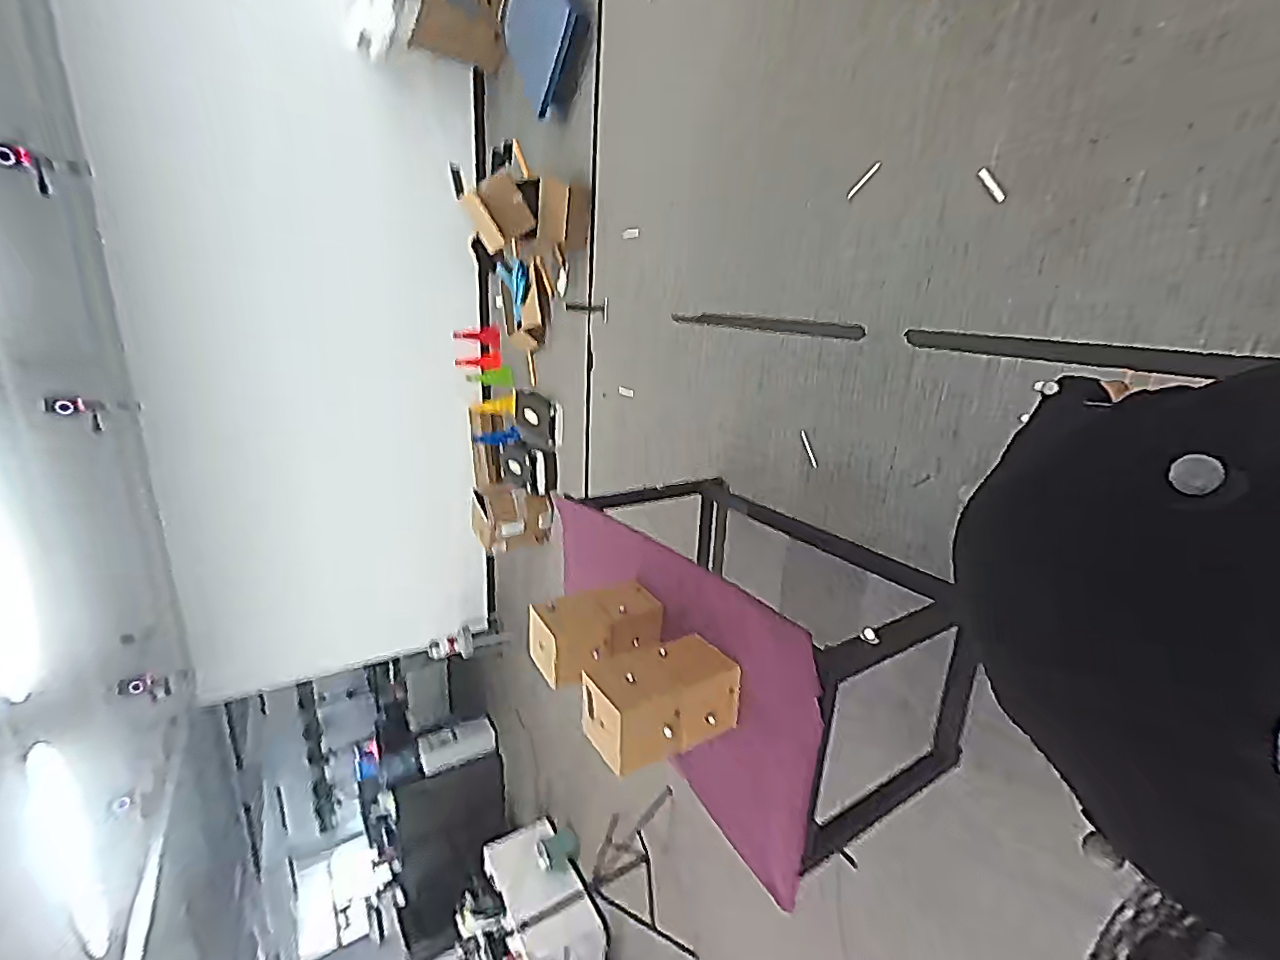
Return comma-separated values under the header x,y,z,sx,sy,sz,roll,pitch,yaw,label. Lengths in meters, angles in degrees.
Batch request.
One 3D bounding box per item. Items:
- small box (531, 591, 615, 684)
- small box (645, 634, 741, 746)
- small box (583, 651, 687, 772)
x,y,z,sx,sy,sz,roll,pitch,yaw,label
-0.186,0.418,1.474,0.179,0.176,0.168,31,123,51,small box
0.125,0.495,1.308,0.179,0.176,0.168,23,116,55,small box
-0.015,0.508,1.223,0.179,0.176,0.168,23,116,54,small box
